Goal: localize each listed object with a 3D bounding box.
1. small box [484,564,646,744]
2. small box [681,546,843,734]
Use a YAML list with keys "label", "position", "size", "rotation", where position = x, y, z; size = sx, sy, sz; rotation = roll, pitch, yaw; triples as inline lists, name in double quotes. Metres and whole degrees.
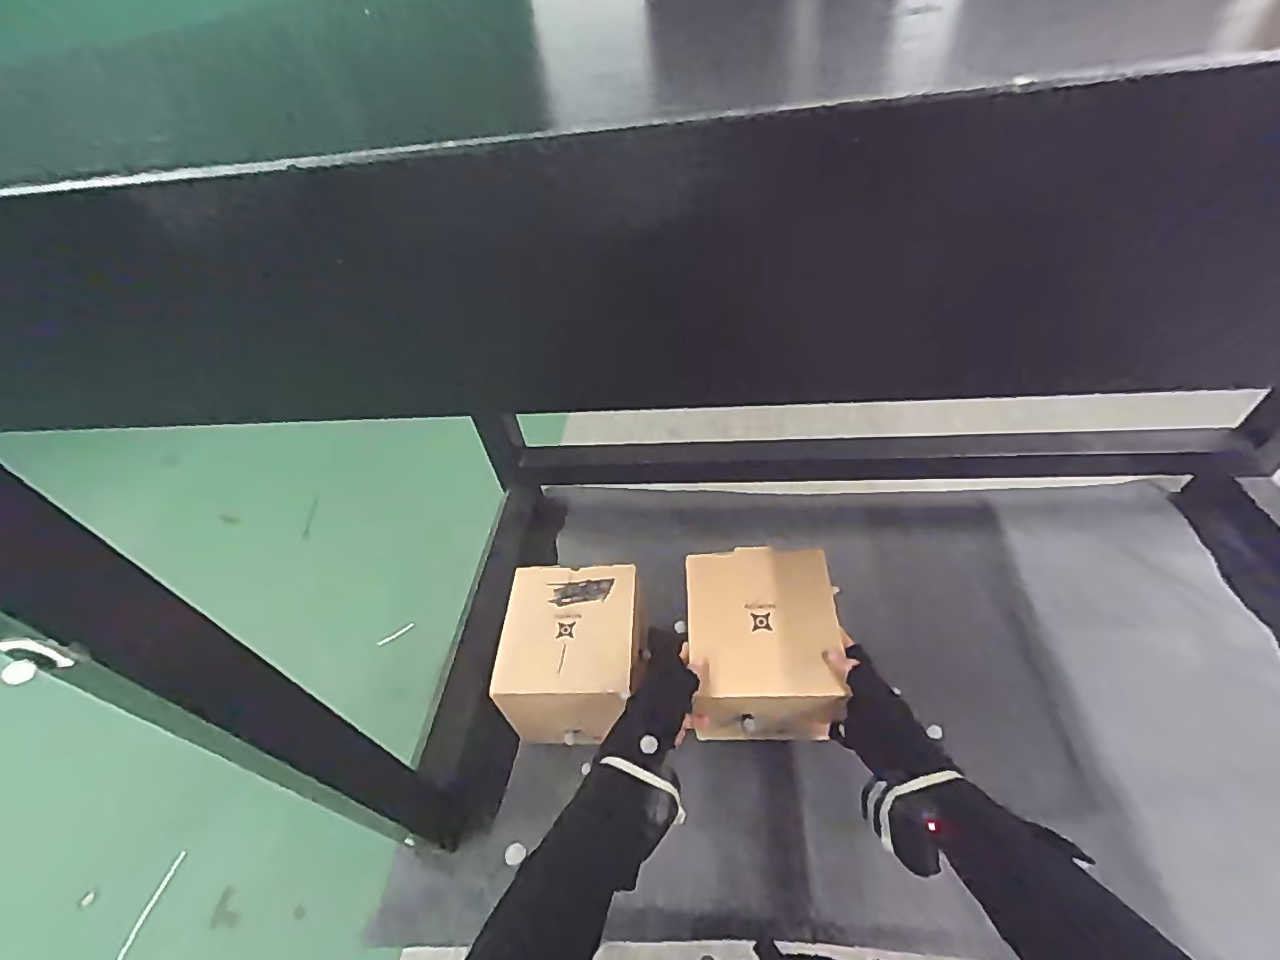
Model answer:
- label: "small box"
  position: [-0.085, 0.231, 0.723]
  size: [0.168, 0.176, 0.179]
  rotation: [-2, 46, 7]
- label: "small box"
  position: [0.140, 0.202, 0.663]
  size: [0.168, 0.176, 0.179]
  rotation: [-4, 49, 7]
